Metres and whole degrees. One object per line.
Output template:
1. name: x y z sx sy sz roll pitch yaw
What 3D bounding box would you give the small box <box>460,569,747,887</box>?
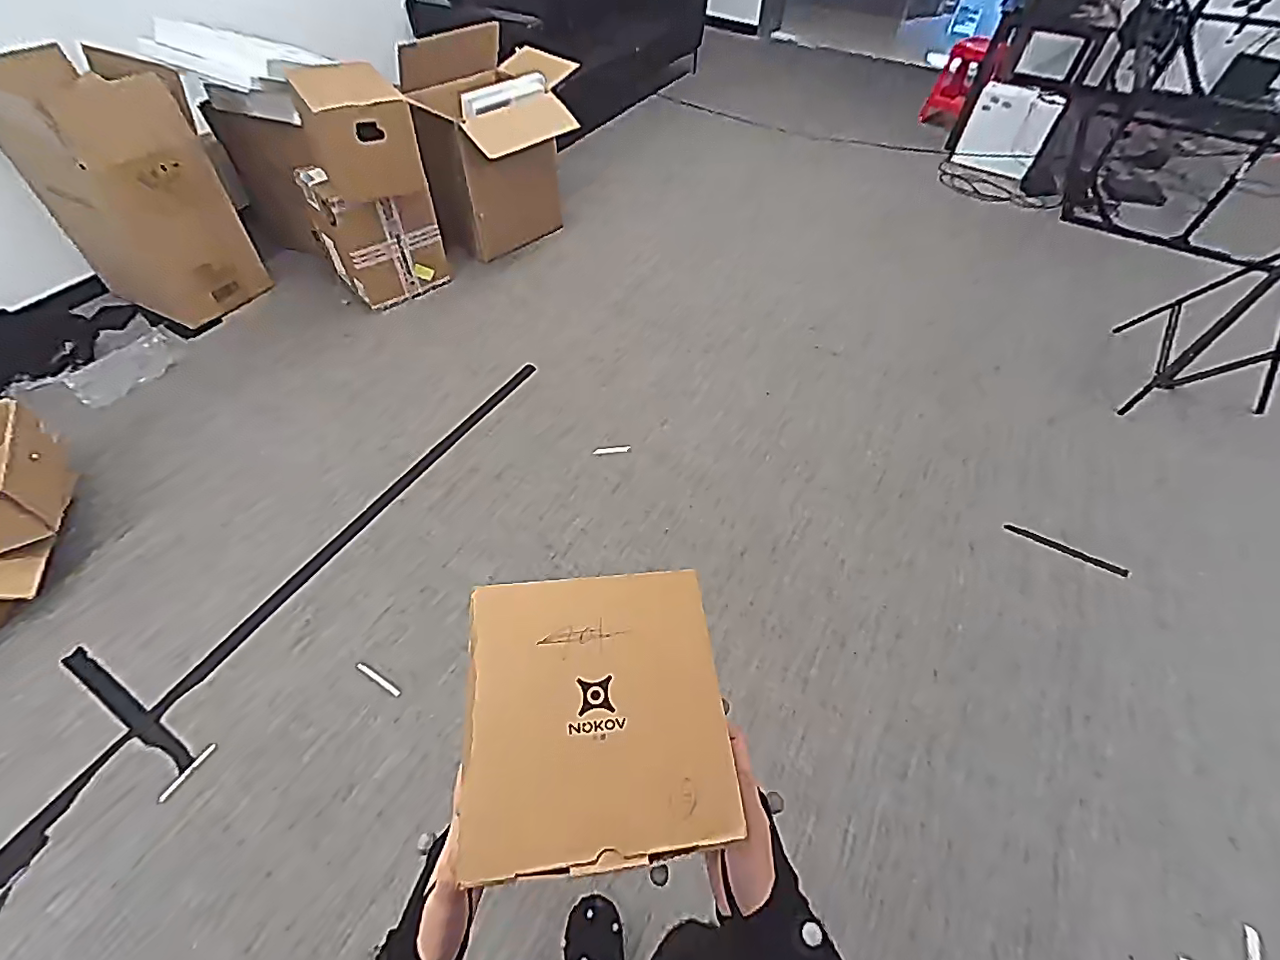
1. small box: -0.034 0.187 0.413 0.168 0.176 0.179 -3 55 -9
